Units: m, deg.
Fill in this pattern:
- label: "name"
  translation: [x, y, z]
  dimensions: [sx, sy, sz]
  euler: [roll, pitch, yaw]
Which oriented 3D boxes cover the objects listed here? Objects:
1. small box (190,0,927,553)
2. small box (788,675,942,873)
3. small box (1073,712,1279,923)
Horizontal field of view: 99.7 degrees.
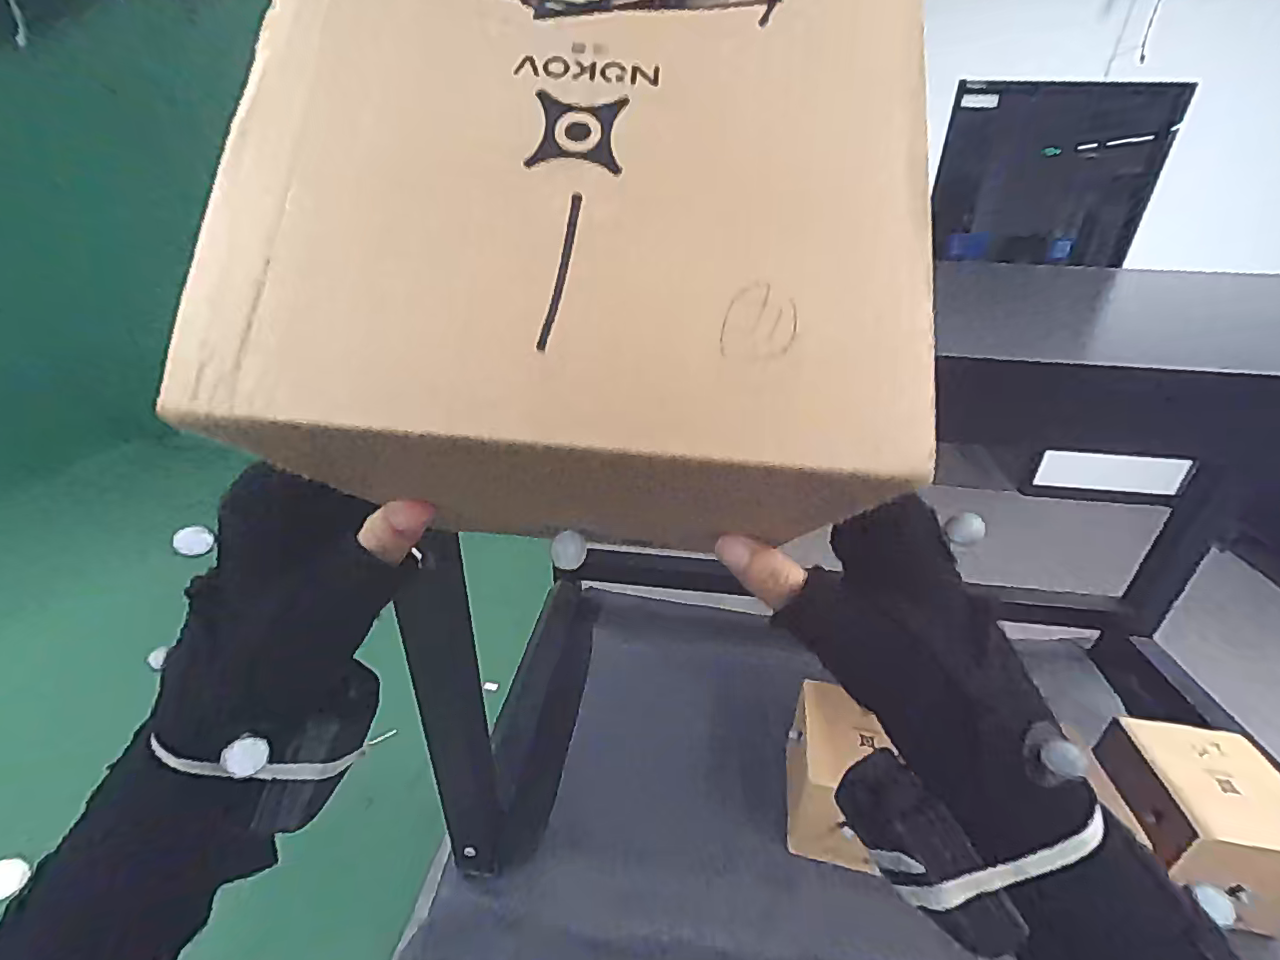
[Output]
- label: "small box"
  translation: [-0.012, -0.072, 0.215]
  dimensions: [0.168, 0.179, 0.176]
  euler: [5, -13, 1]
- label: "small box"
  translation: [0.312, 0.423, 0.785]
  dimensions: [0.168, 0.176, 0.179]
  euler: [8, 28, 11]
- label: "small box"
  translation: [0.749, 0.456, 0.739]
  dimensions: [0.168, 0.176, 0.179]
  euler: [6, 28, 8]
